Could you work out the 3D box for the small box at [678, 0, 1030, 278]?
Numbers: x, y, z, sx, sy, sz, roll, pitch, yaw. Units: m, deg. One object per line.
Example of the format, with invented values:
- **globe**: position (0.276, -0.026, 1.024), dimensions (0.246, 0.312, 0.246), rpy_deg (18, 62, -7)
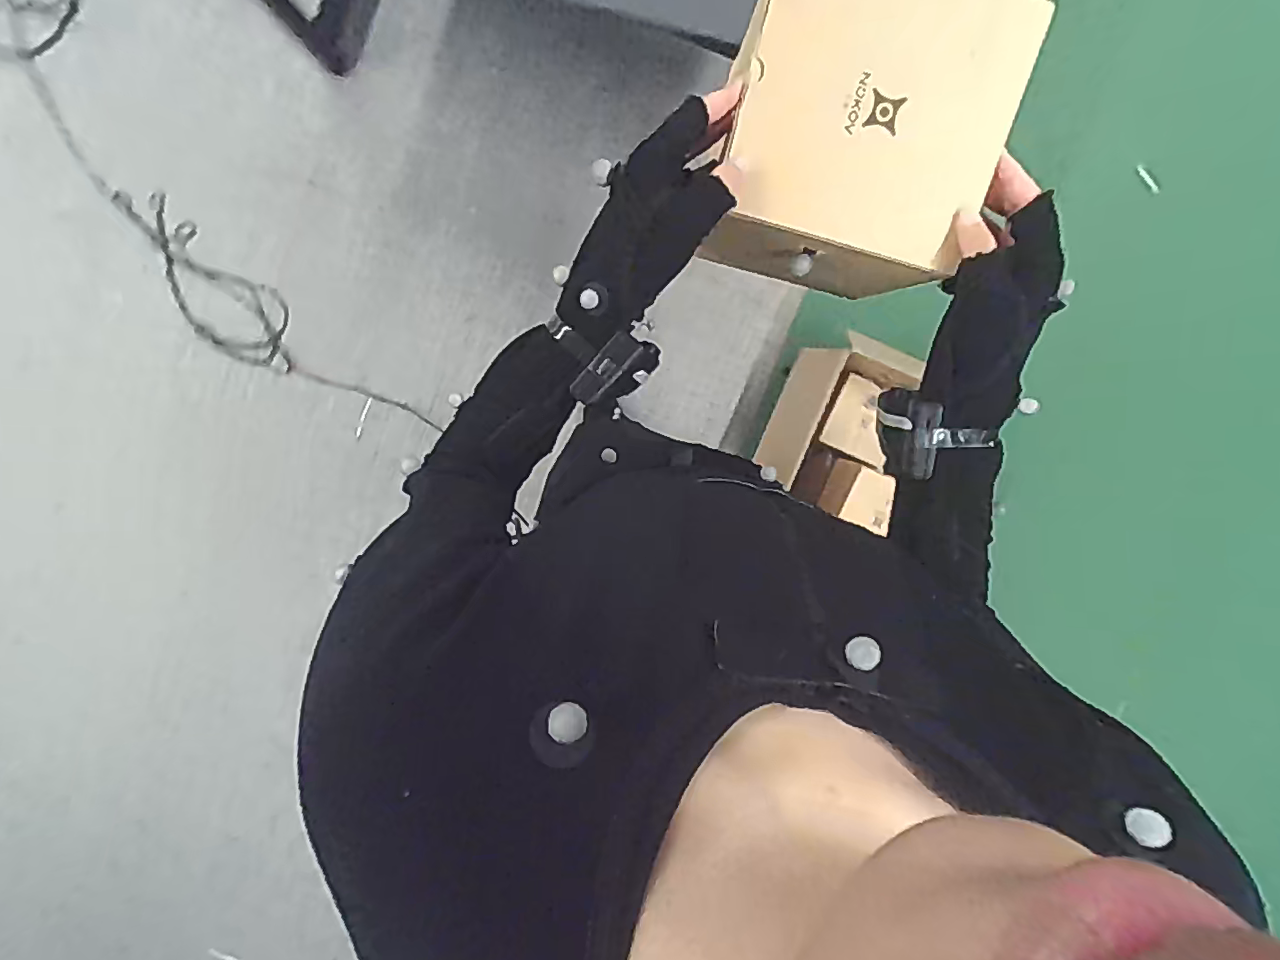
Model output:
- **small box**: position (0.134, -0.261, 0.414), dimensions (0.179, 0.176, 0.168), rpy_deg (12, 103, -3)
